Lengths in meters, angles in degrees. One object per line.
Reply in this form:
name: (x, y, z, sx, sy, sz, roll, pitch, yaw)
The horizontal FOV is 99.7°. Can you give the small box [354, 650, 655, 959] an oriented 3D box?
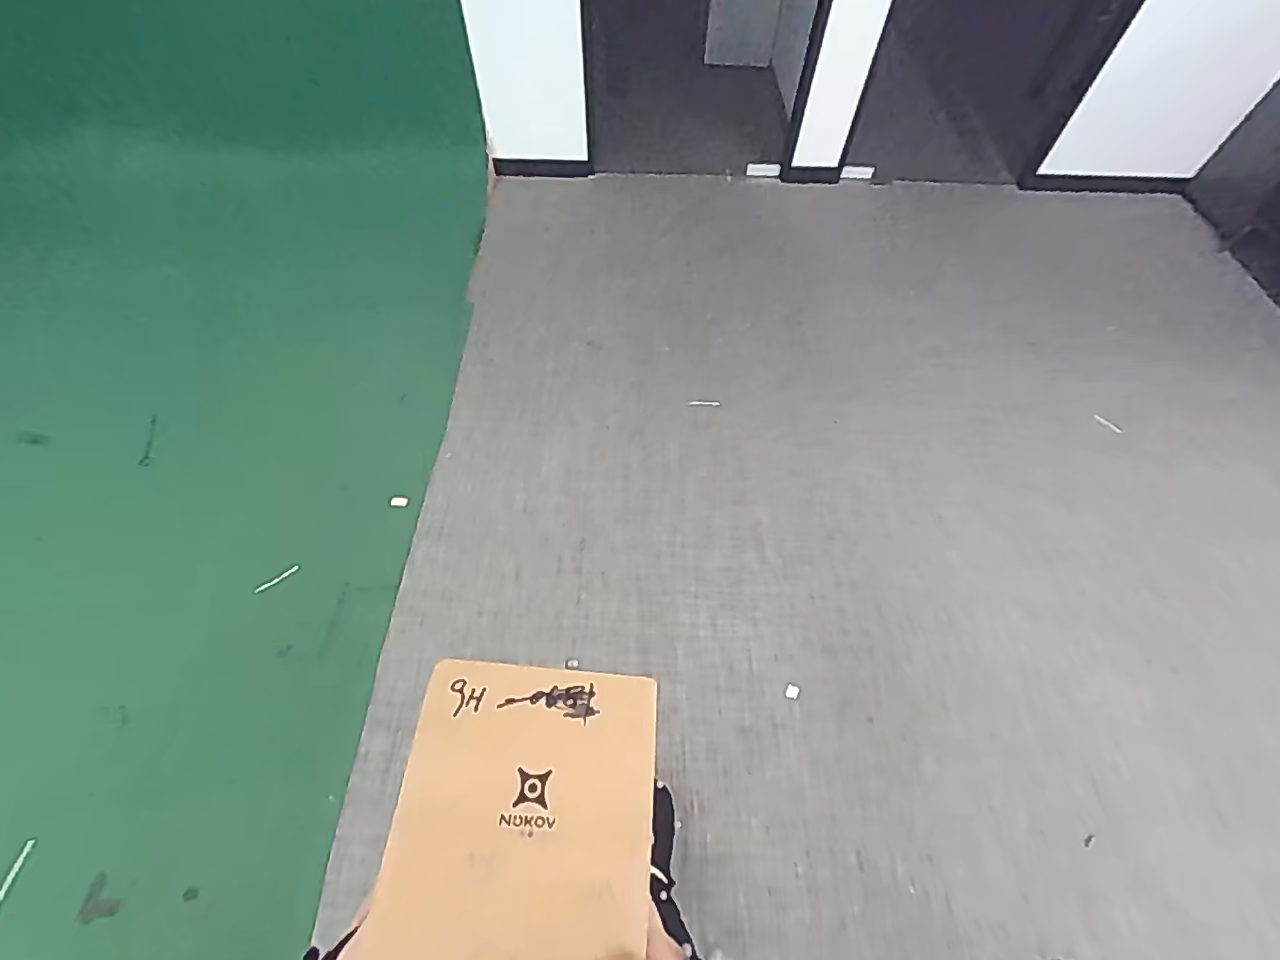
small box: (-0.085, 0.248, 0.418, 0.168, 0.176, 0.179, 7, 57, -5)
